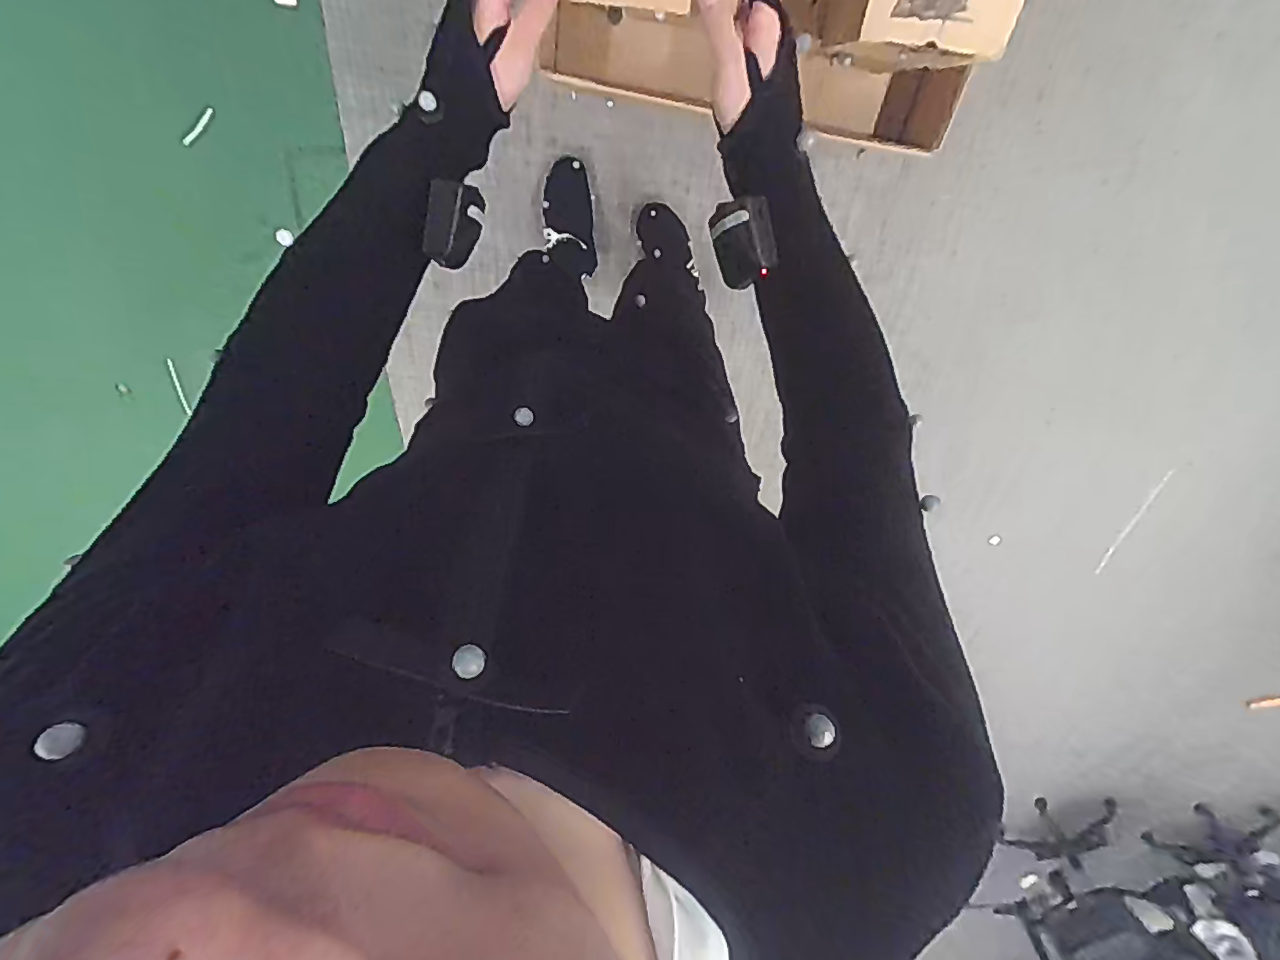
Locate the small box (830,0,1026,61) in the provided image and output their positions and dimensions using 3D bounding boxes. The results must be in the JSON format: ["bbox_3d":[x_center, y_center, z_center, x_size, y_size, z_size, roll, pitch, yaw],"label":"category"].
[{"bbox_3d":[0.331,-0.591,0.606,0.168,0.176,0.179,6,125,-4],"label":"small box"}]
